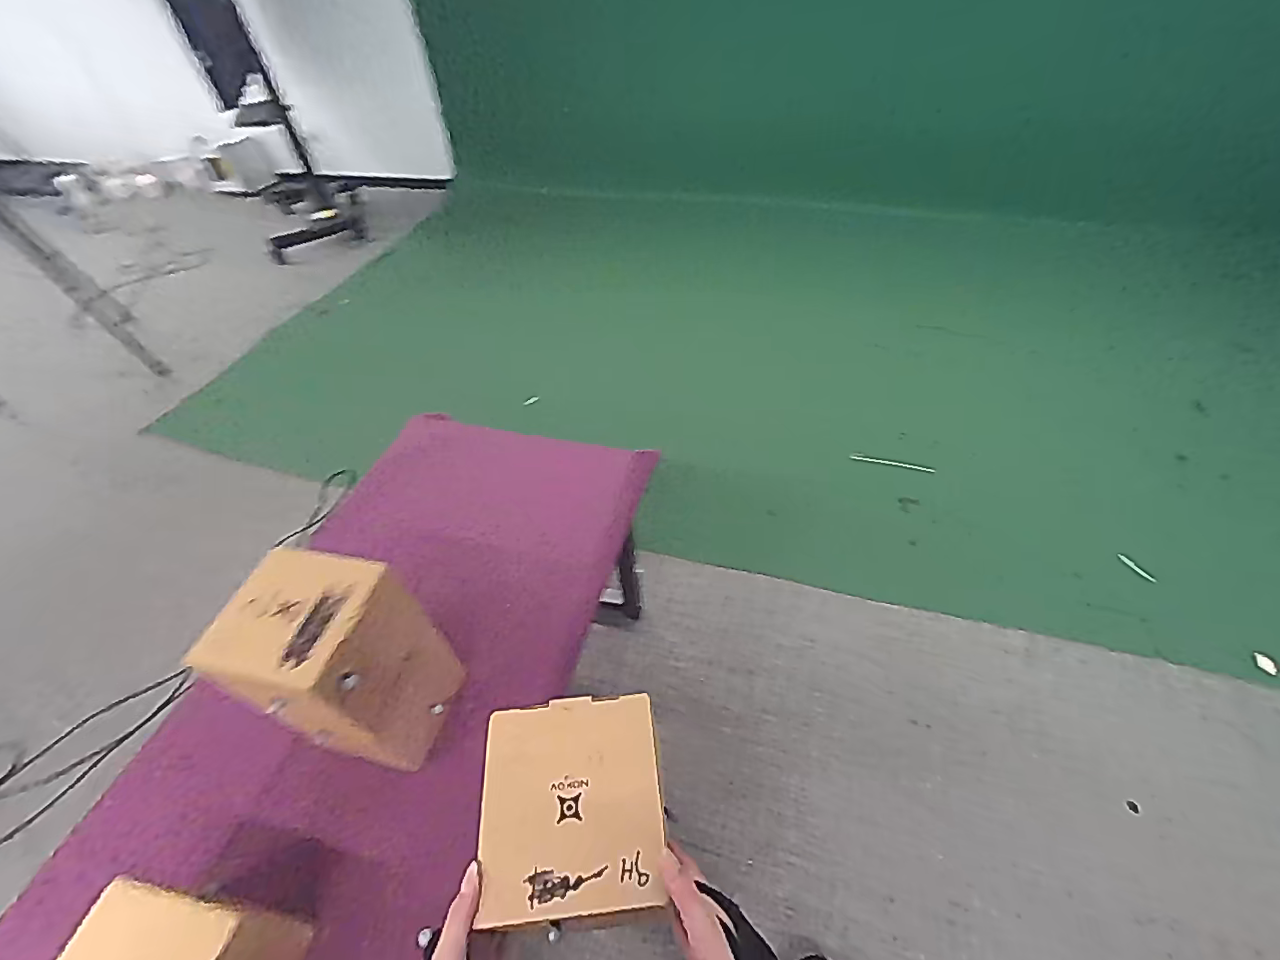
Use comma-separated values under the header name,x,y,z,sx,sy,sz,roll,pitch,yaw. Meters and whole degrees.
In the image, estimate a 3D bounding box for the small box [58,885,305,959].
name,x,y,z,sx,sy,sz,roll,pitch,yaw
small box,-0.533,0.584,0.605,0.179,0.176,0.168,6,48,10

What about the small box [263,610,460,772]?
name,x,y,z,sx,sy,sz,roll,pitch,yaw
small box,-0.411,0.326,0.832,0.179,0.176,0.168,8,49,12

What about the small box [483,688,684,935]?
name,x,y,z,sx,sy,sz,roll,pitch,yaw
small box,-0.046,0.337,0.551,0.168,0.176,0.179,-6,46,0
